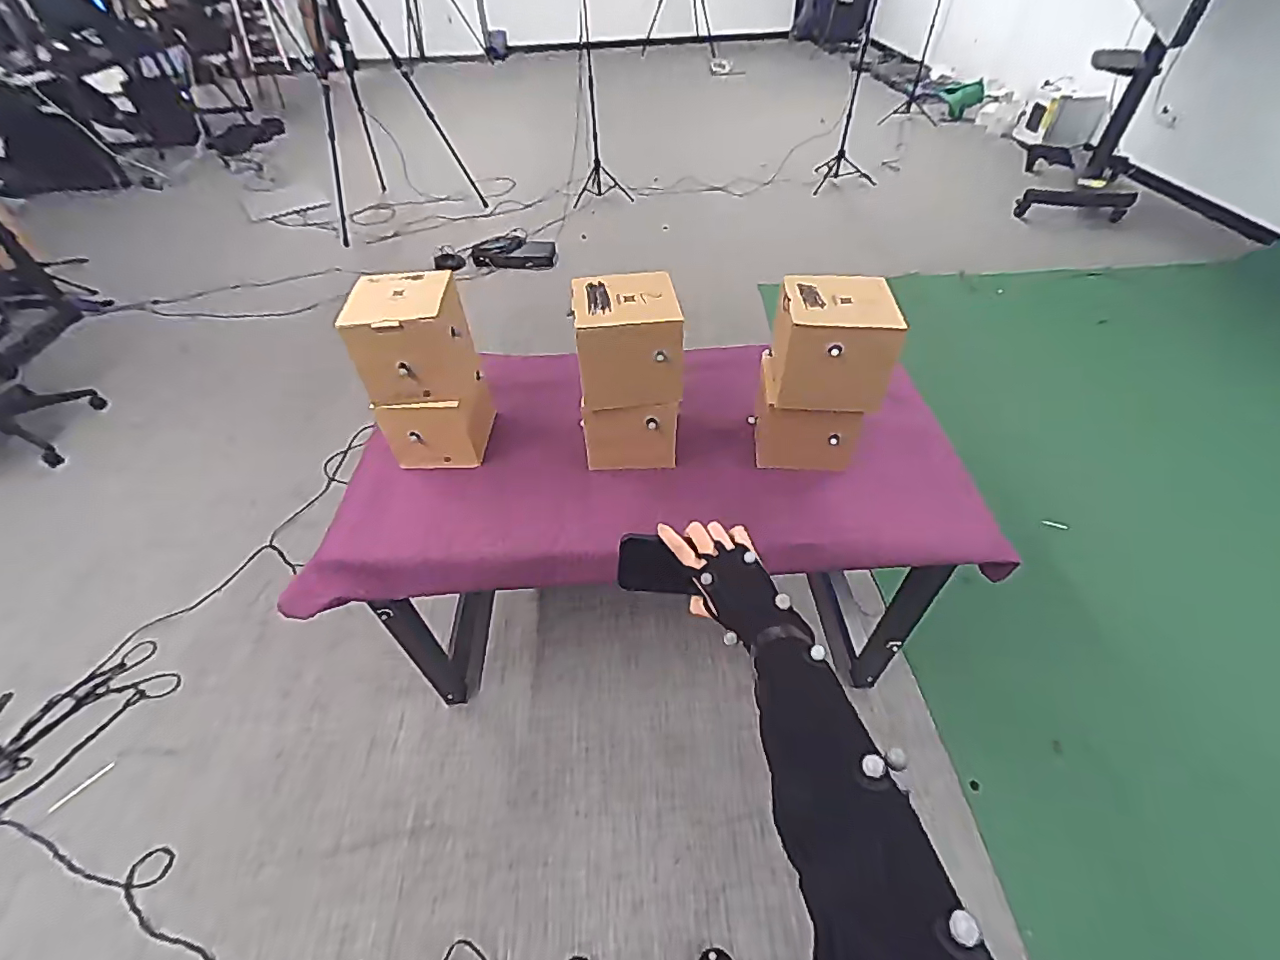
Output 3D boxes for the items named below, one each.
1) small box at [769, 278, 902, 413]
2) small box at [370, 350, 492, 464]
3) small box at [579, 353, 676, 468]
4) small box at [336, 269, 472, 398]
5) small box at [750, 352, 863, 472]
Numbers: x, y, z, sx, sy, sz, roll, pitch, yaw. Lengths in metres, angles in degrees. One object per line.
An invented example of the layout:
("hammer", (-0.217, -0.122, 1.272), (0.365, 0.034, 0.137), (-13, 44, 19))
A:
("small box", (0.323, -0.232, 0.939), (0.179, 0.176, 0.168), (4, 47, 4))
("small box", (-0.412, -0.145, 1.105), (0.168, 0.176, 0.179), (-1, 47, 1))
("small box", (-0.022, -0.137, 1.084), (0.179, 0.176, 0.168), (-1, 47, 1))
("small box", (-0.416, -0.263, 0.991), (0.168, 0.176, 0.179), (-4, 48, -3))
("small box", (0.318, -0.132, 1.069), (0.179, 0.176, 0.168), (4, 47, 5))
